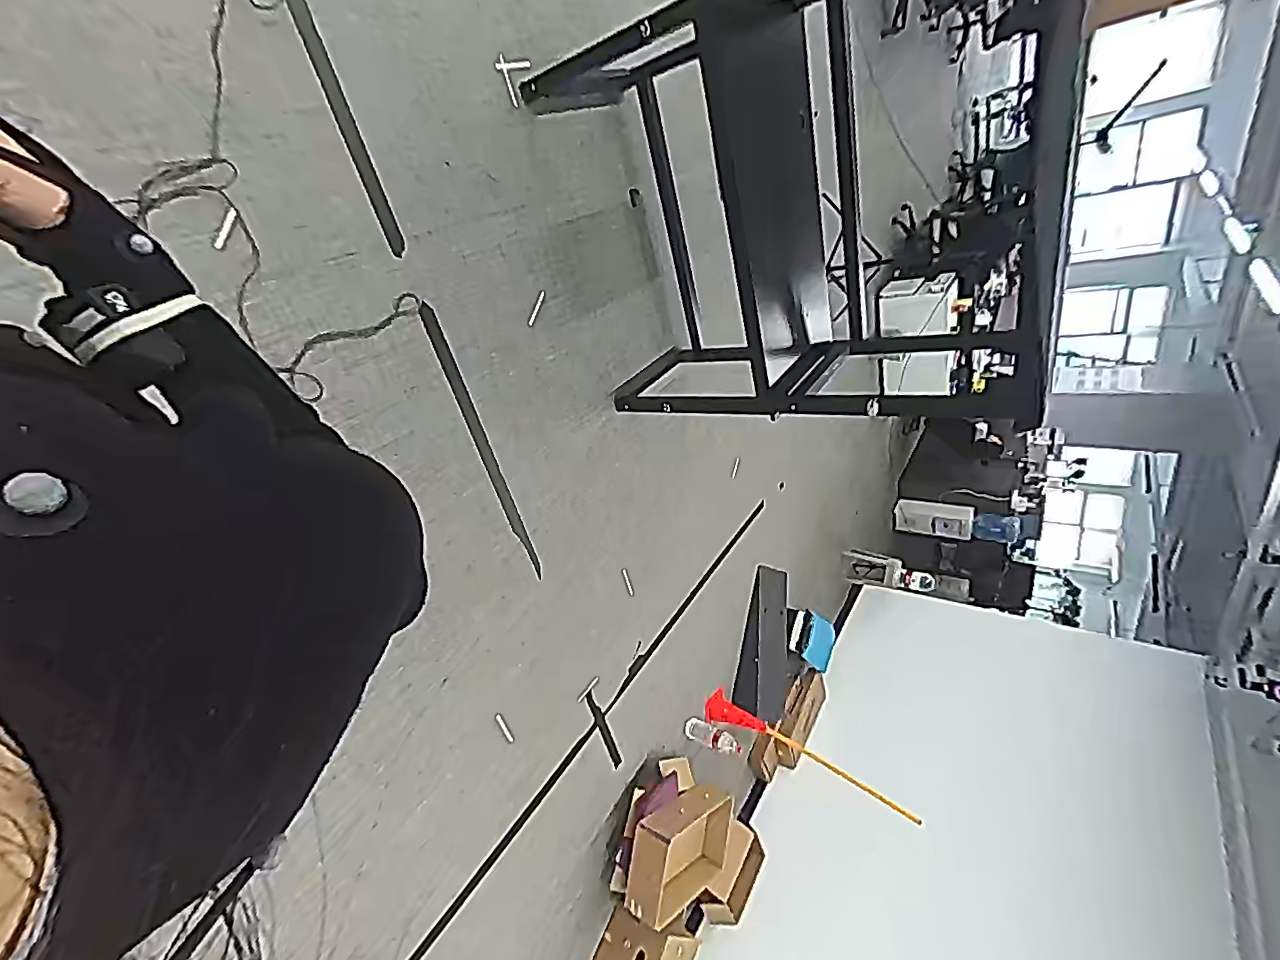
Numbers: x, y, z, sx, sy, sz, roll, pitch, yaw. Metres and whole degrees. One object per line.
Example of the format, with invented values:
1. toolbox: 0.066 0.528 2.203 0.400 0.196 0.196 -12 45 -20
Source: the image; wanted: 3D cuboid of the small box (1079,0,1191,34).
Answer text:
1. small box: 0.941 -0.970 1.016 0.179 0.176 0.168 -47 132 -40
